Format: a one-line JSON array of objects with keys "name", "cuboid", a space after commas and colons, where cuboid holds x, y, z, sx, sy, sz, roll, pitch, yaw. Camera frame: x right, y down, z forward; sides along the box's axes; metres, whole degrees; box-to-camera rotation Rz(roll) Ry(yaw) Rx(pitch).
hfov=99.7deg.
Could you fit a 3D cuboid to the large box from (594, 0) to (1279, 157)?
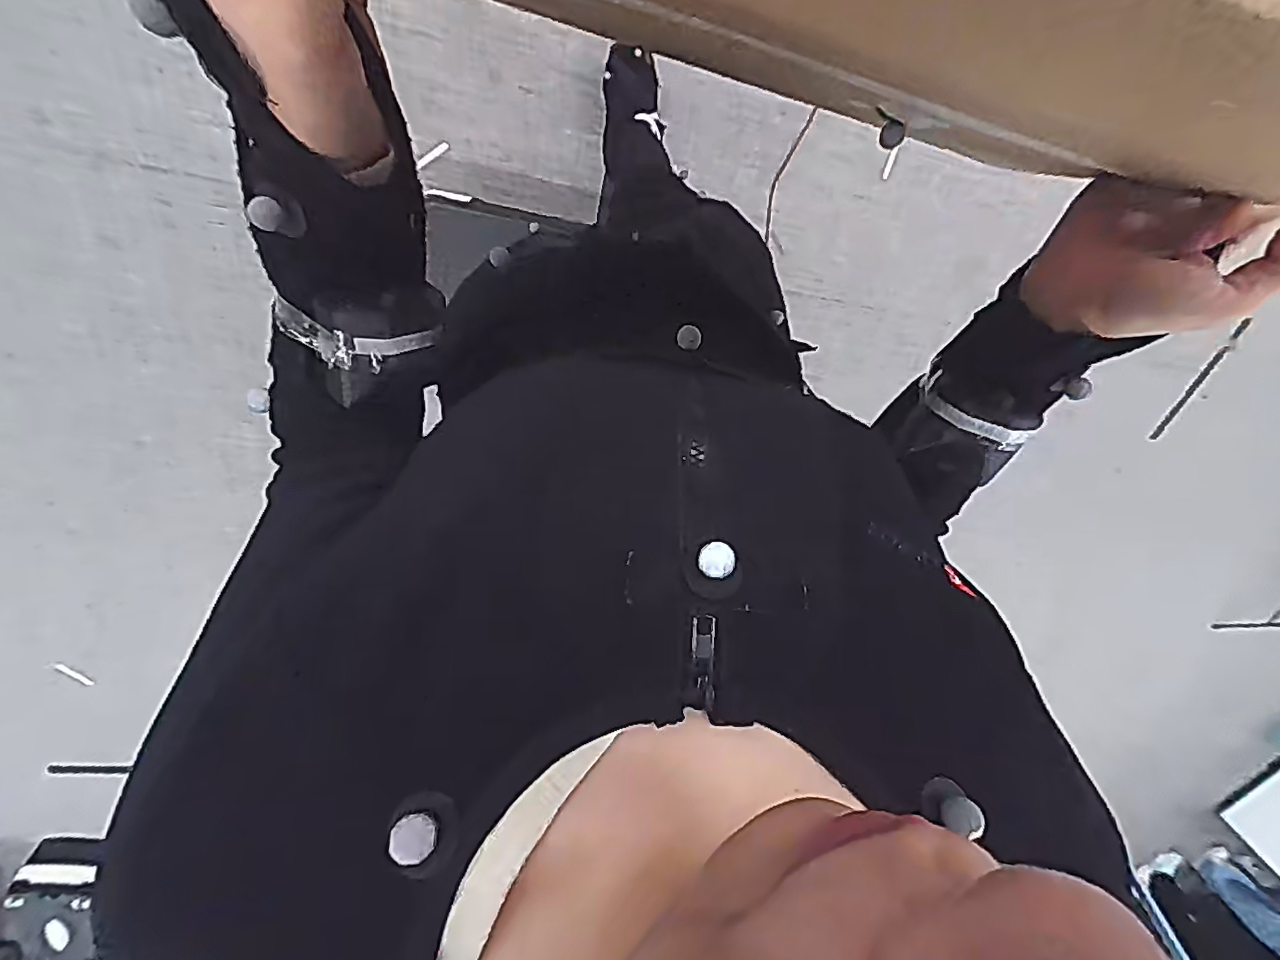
[{"name": "large box", "cuboid": [0.109, -0.308, 0.130, 0.408, 0.320, 0.320, 8, 124, -12]}]
